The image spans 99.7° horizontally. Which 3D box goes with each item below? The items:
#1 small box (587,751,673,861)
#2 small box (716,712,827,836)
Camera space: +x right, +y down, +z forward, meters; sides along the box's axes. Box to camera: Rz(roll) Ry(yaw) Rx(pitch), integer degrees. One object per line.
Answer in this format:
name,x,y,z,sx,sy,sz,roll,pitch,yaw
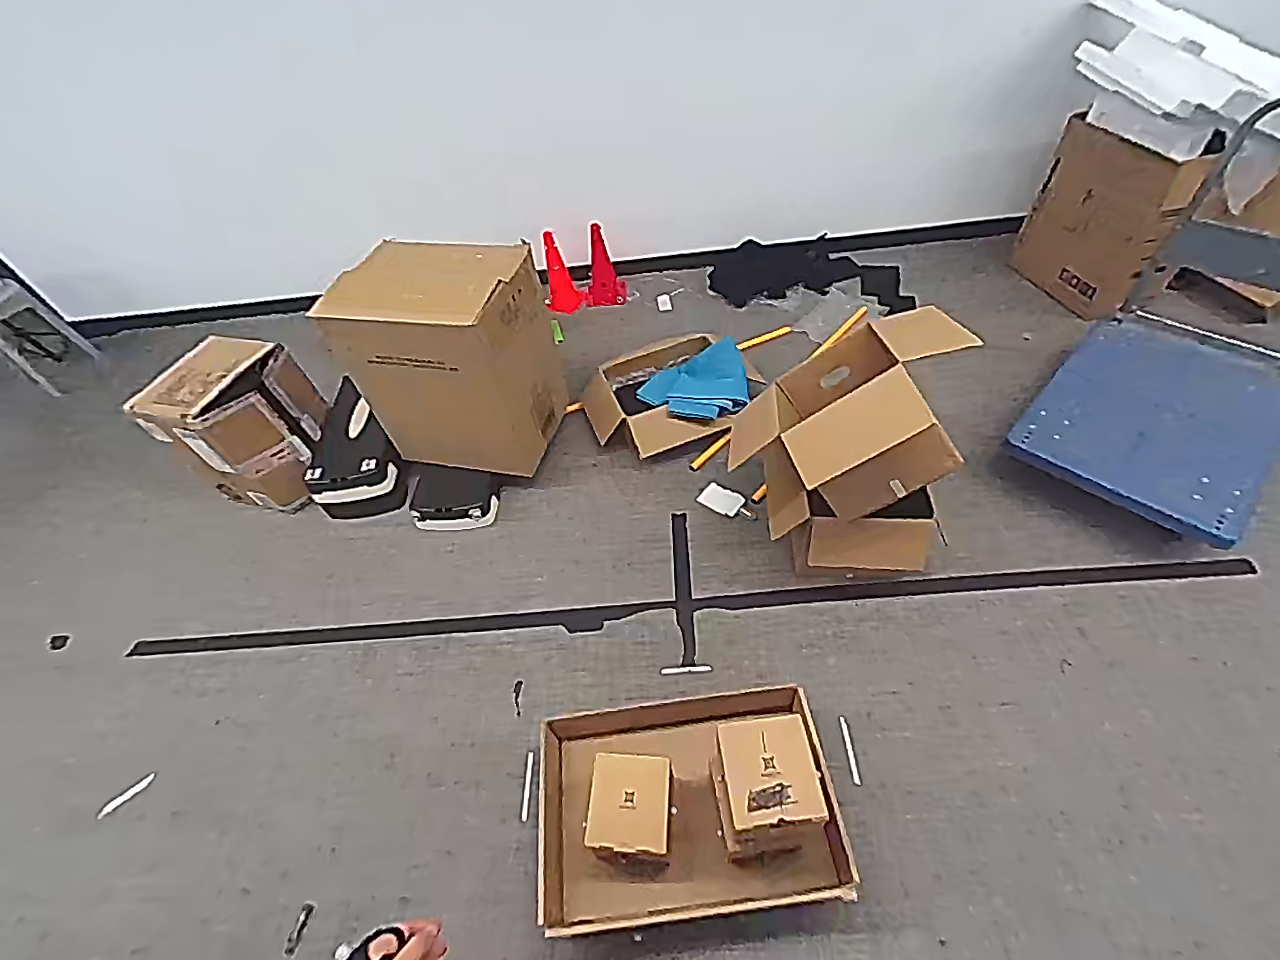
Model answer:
small box,-0.014,0.712,1.180,0.168,0.176,0.179,0,50,6
small box,0.245,0.571,1.042,0.168,0.176,0.179,-8,49,1
